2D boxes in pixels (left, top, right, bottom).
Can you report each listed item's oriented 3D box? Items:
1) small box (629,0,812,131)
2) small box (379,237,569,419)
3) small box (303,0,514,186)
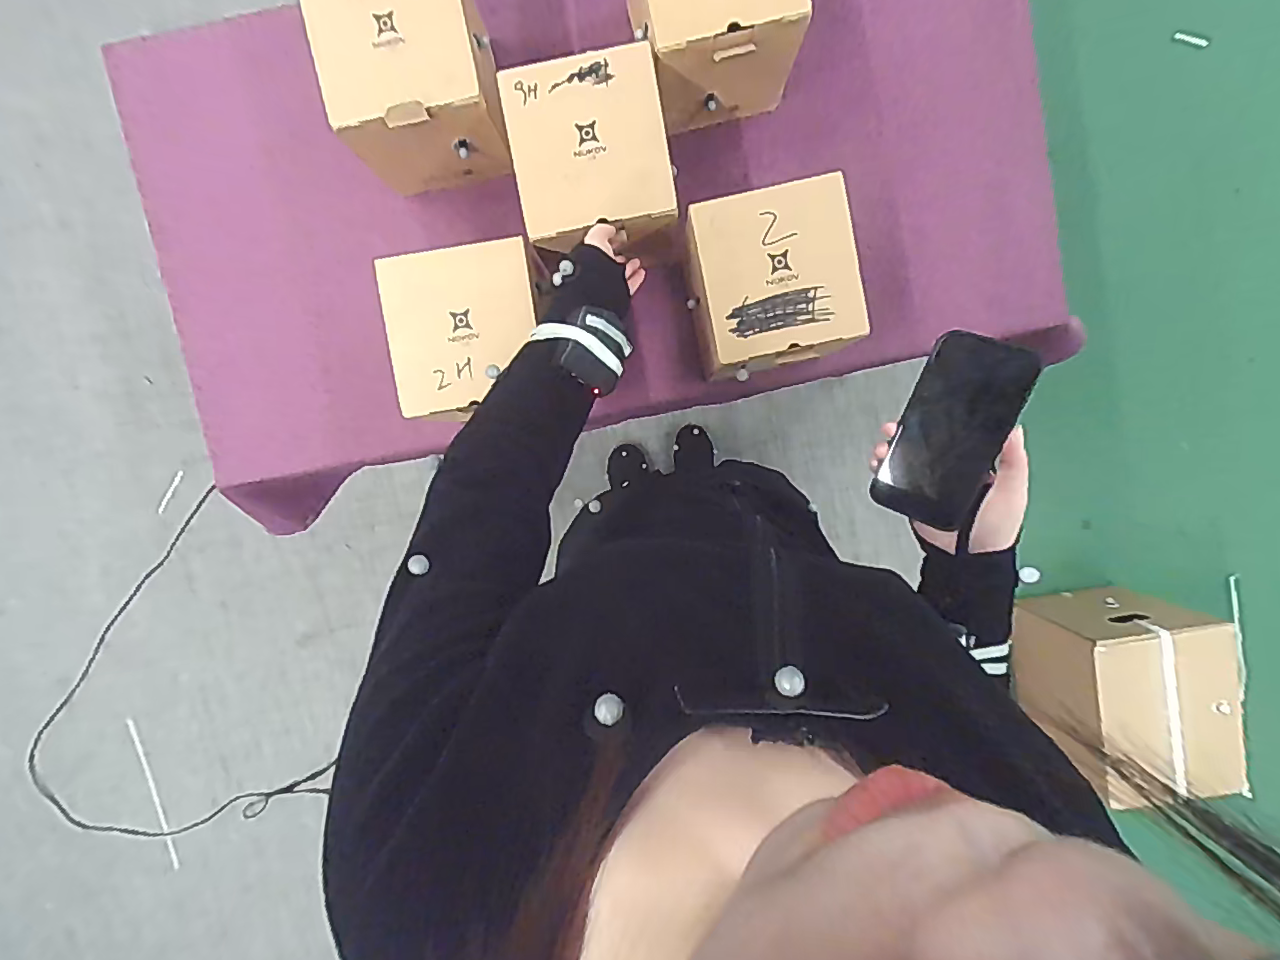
[{"bbox_3d":[0.080,-0.553,0.628,0.168,0.176,0.179,-13,96,3],"label":"small box"},{"bbox_3d":[-0.191,-0.173,0.668,0.168,0.176,0.179,-8,95,3],"label":"small box"},{"bbox_3d":[-0.260,-0.476,0.643,0.168,0.176,0.179,-11,95,1],"label":"small box"}]
